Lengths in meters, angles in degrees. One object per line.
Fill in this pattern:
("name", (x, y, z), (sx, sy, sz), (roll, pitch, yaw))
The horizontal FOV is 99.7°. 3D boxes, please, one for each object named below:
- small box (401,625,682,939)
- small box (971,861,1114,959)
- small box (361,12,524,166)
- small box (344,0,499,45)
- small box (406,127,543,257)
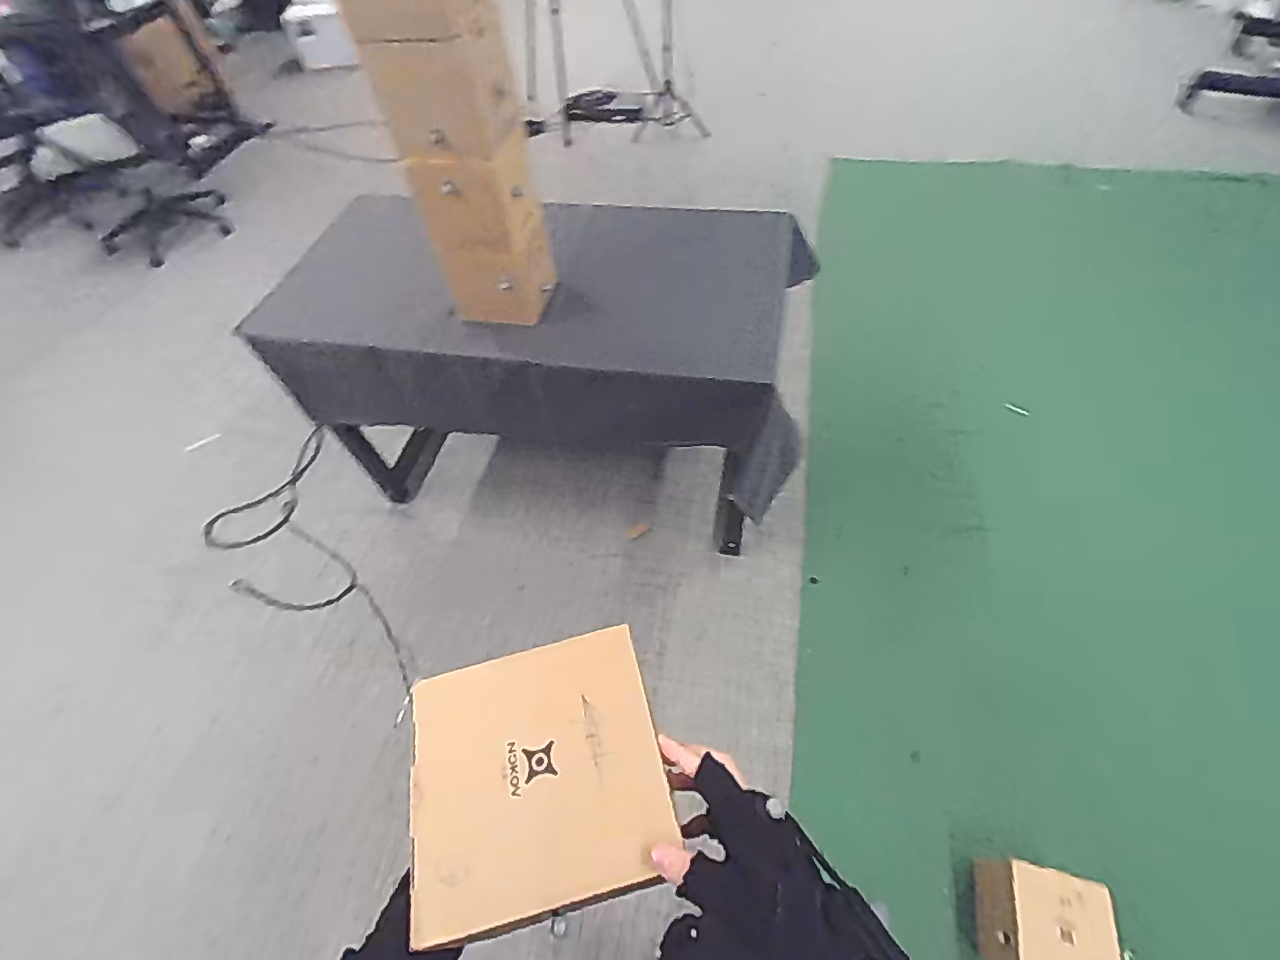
("small box", (-0.071, 0.248, 0.444), (0.179, 0.176, 0.168), (-15, 52, -4))
("small box", (0.758, 0.858, 1.032), (0.168, 0.176, 0.179), (11, 56, 12))
("small box", (-0.311, -0.647, 0.900), (0.179, 0.176, 0.168), (9, 55, 10))
("small box", (-0.326, -0.746, 0.769), (0.179, 0.176, 0.168), (8, 56, 10))
("small box", (-0.300, -0.546, 1.028), (0.179, 0.176, 0.168), (7, 55, 9))
